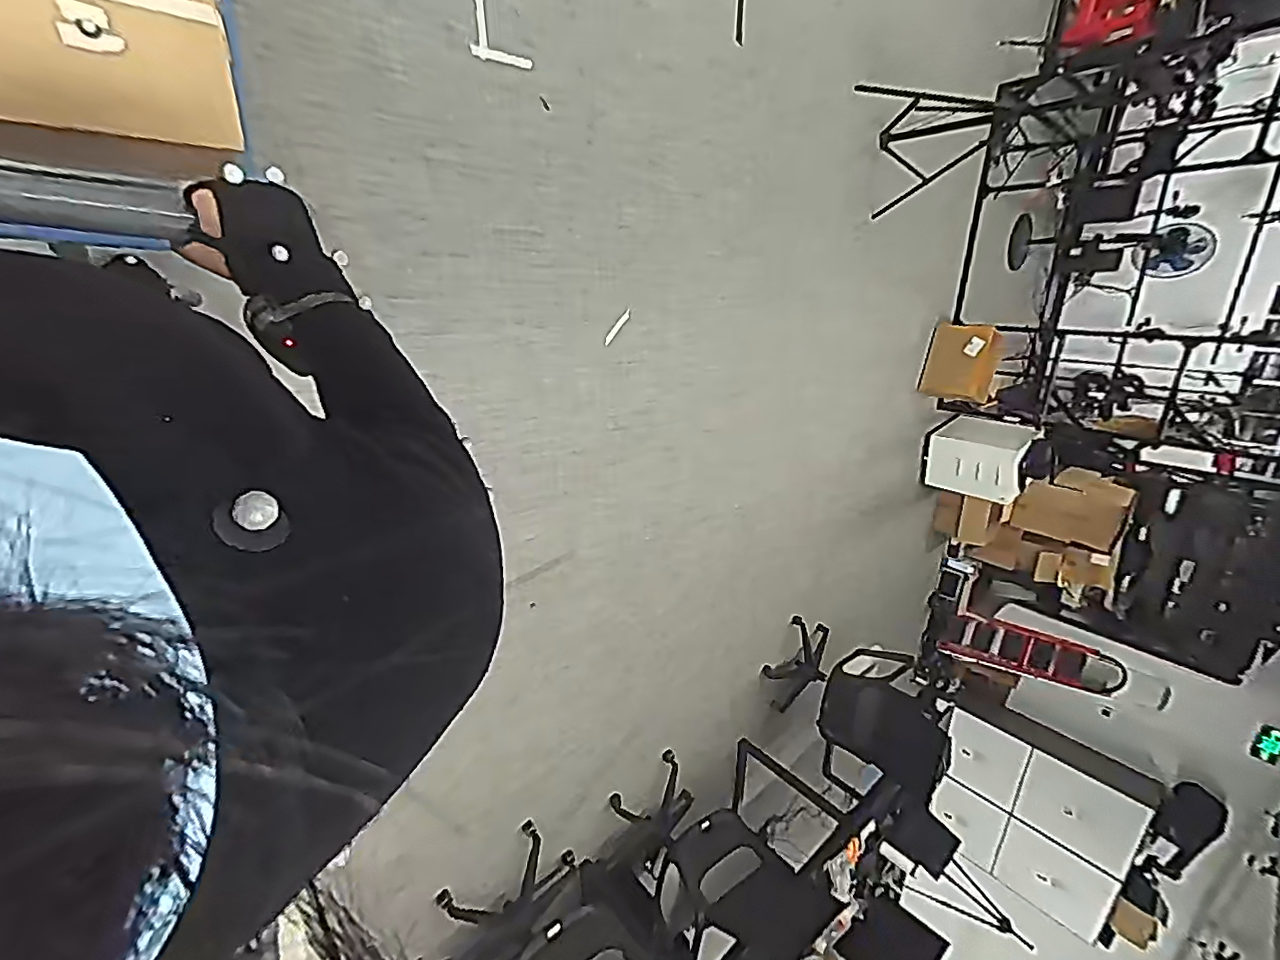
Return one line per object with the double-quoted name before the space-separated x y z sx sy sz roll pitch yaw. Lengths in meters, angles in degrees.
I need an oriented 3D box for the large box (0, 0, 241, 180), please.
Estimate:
"large box" -0.823 -0.605 0.706 0.408 0.320 0.320 -17 117 -40
